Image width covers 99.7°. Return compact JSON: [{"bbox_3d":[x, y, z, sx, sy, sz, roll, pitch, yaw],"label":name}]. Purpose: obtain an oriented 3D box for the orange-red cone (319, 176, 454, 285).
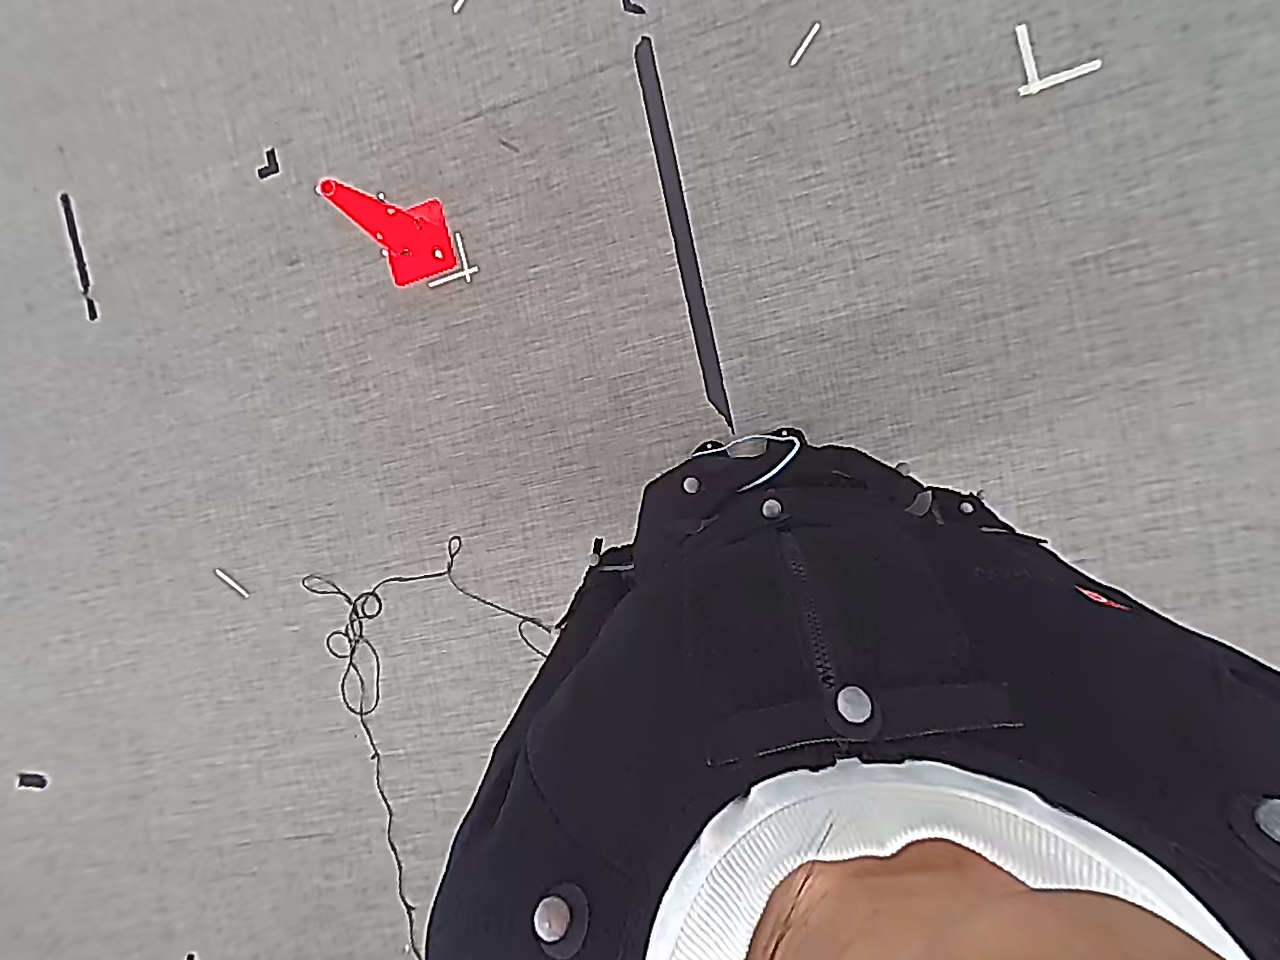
[{"bbox_3d":[-0.652,-0.652,1.342,0.198,0.360,0.199,-13,91,9],"label":"orange-red cone"}]
